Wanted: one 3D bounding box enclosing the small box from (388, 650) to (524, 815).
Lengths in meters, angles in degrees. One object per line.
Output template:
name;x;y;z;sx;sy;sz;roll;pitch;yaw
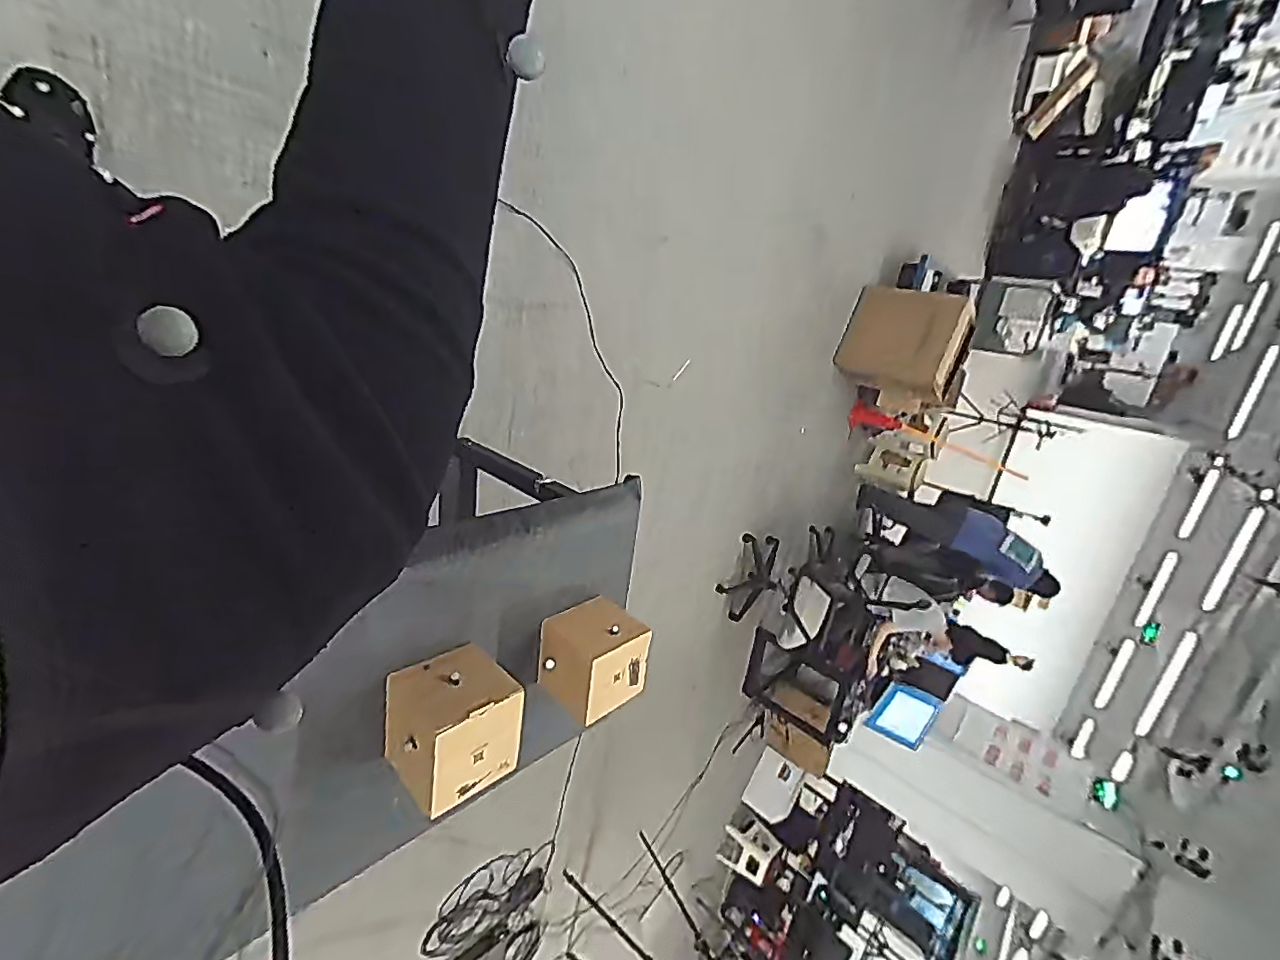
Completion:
small box;-0.324;0.421;0.944;0.168;0.176;0.179;-11;116;-47

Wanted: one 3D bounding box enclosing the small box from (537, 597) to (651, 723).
small box;-0.103;0.383;1.188;0.179;0.176;0.168;-14;118;-45
